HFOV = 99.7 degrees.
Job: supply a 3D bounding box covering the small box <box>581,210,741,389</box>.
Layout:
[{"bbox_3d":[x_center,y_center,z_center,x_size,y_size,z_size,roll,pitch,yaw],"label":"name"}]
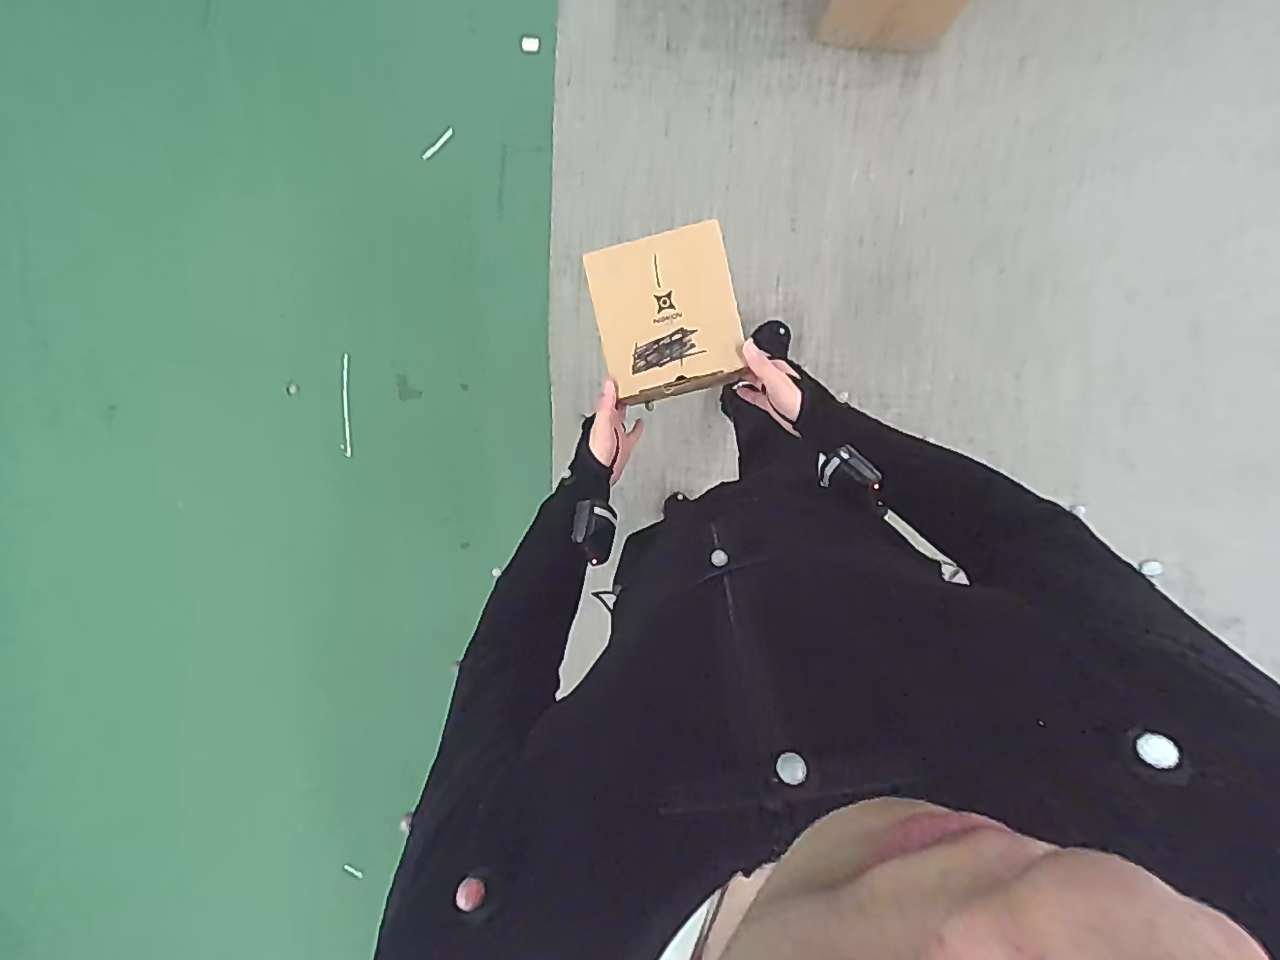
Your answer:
[{"bbox_3d":[0.034,-0.222,0.720,0.168,0.176,0.179,-12,93,7],"label":"small box"}]
